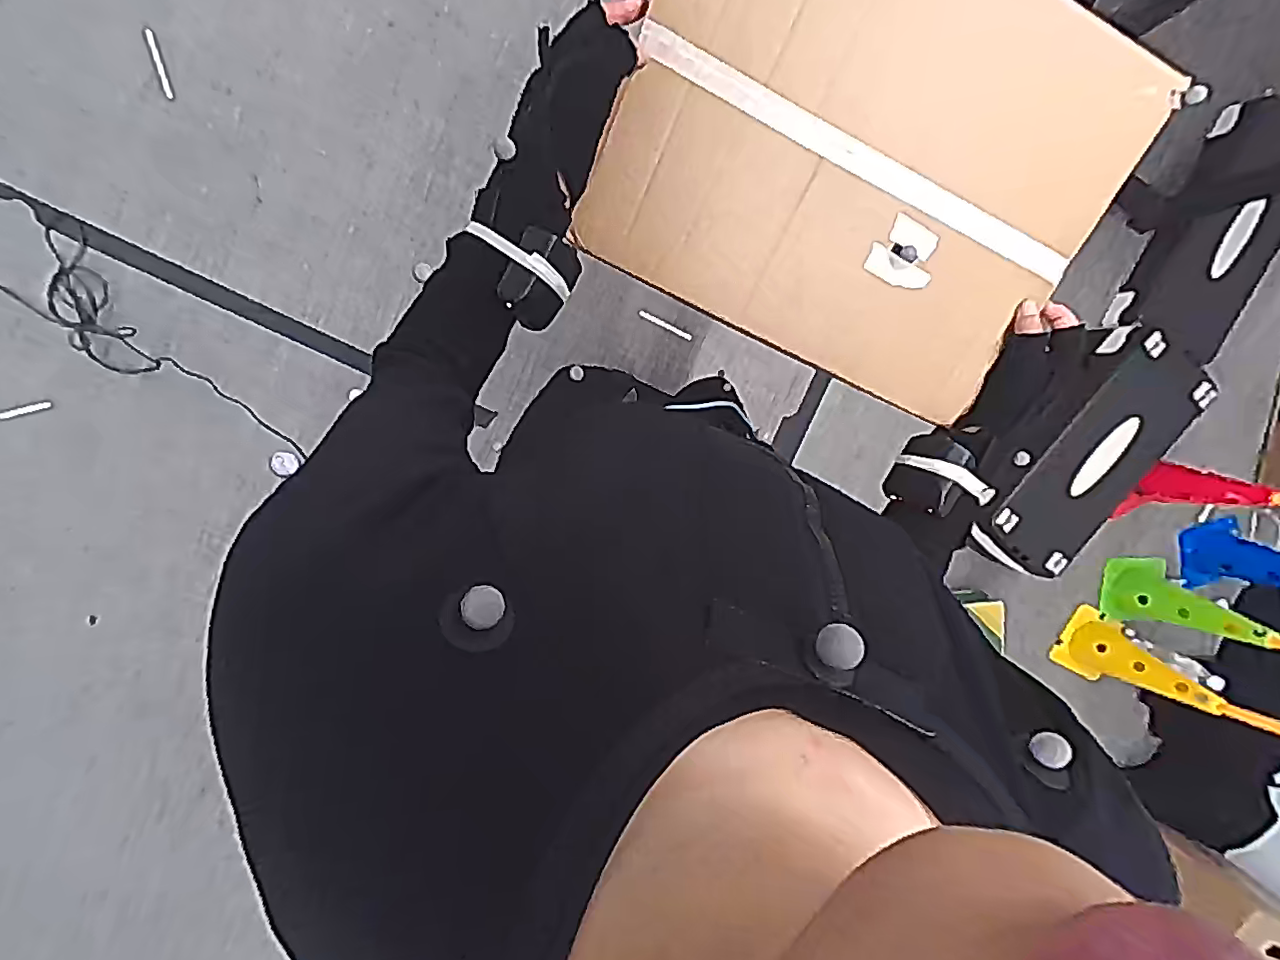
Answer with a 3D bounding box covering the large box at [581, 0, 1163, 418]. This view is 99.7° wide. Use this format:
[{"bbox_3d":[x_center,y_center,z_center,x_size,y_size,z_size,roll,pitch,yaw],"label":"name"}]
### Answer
[{"bbox_3d":[0.182,-0.315,0.593,0.408,0.320,0.320,23,109,-10],"label":"large box"}]
